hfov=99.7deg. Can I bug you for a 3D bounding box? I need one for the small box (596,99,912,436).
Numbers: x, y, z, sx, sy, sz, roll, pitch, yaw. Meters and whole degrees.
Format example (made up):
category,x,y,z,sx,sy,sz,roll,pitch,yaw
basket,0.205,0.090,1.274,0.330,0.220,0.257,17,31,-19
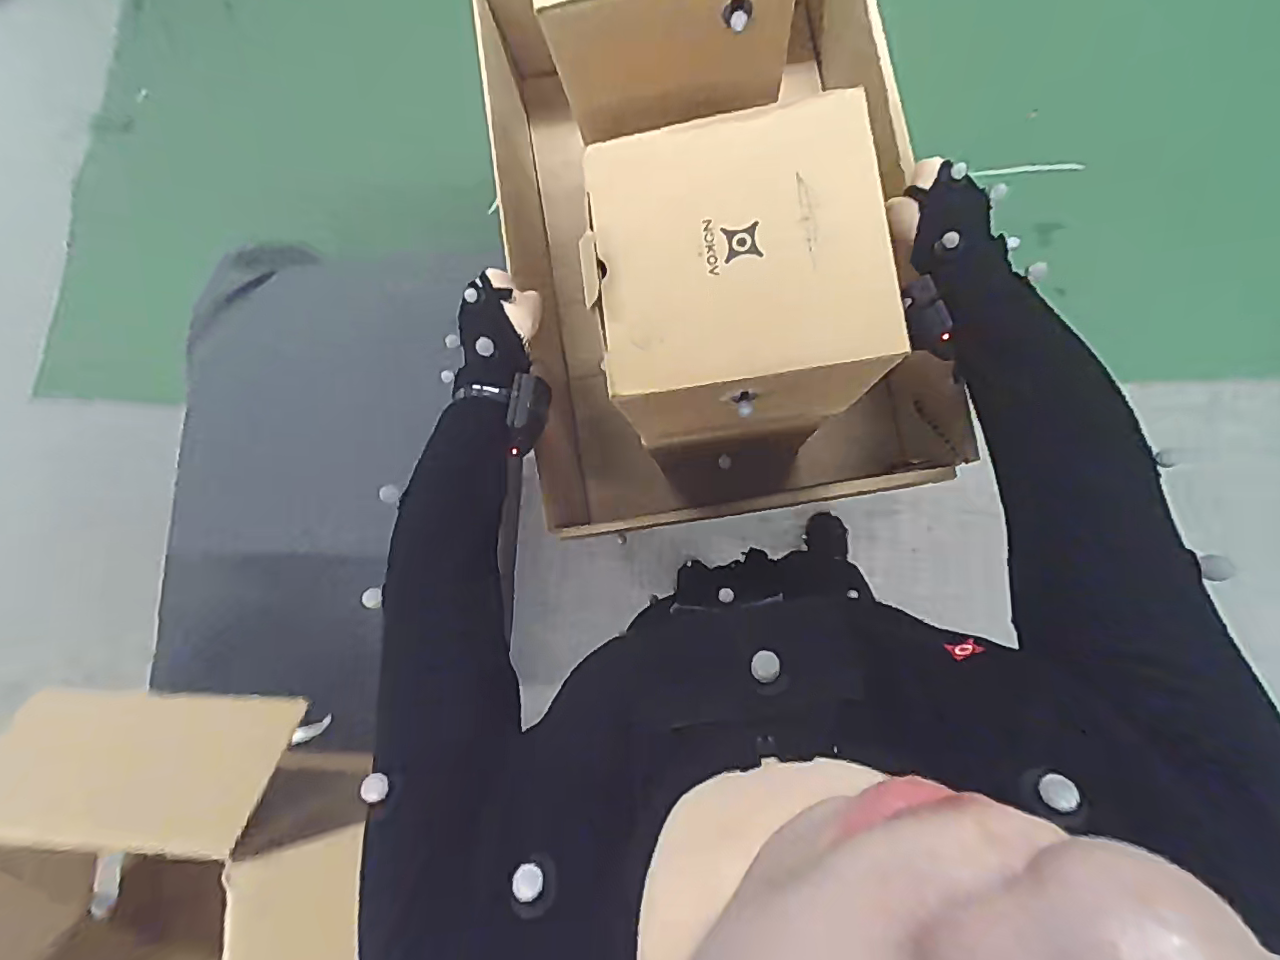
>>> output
category,x,y,z,sx,sy,sz,roll,pitch,yaw
small box,0.075,-0.133,0.409,0.179,0.176,0.168,-7,85,7
